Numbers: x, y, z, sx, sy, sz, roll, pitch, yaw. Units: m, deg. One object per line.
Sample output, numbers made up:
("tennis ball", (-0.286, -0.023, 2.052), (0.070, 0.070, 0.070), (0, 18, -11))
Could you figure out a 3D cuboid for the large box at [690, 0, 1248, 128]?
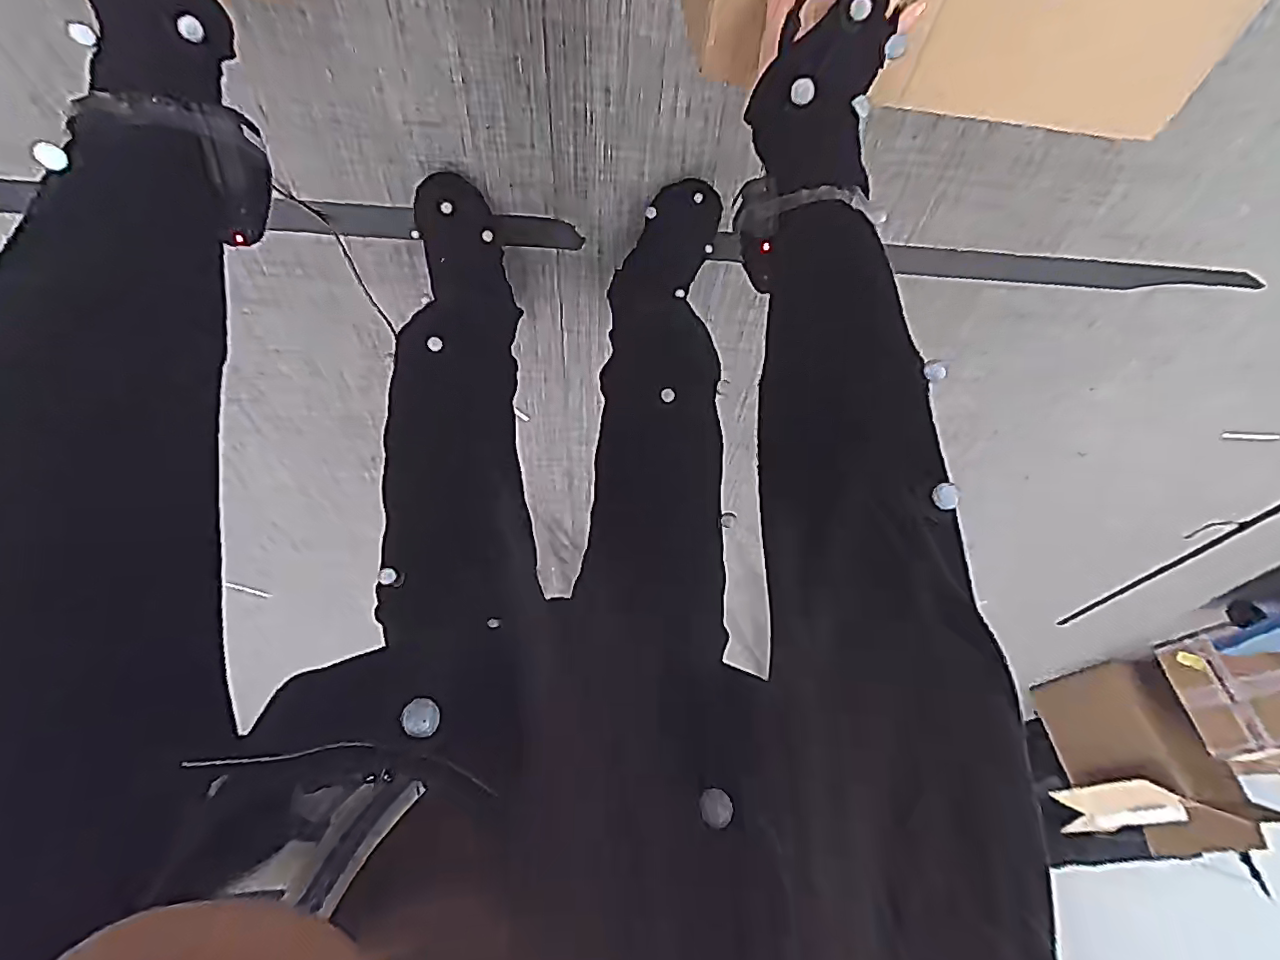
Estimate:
("large box", (0.263, -0.528, 0.424), (0.408, 0.320, 0.320), (2, 145, -8))
